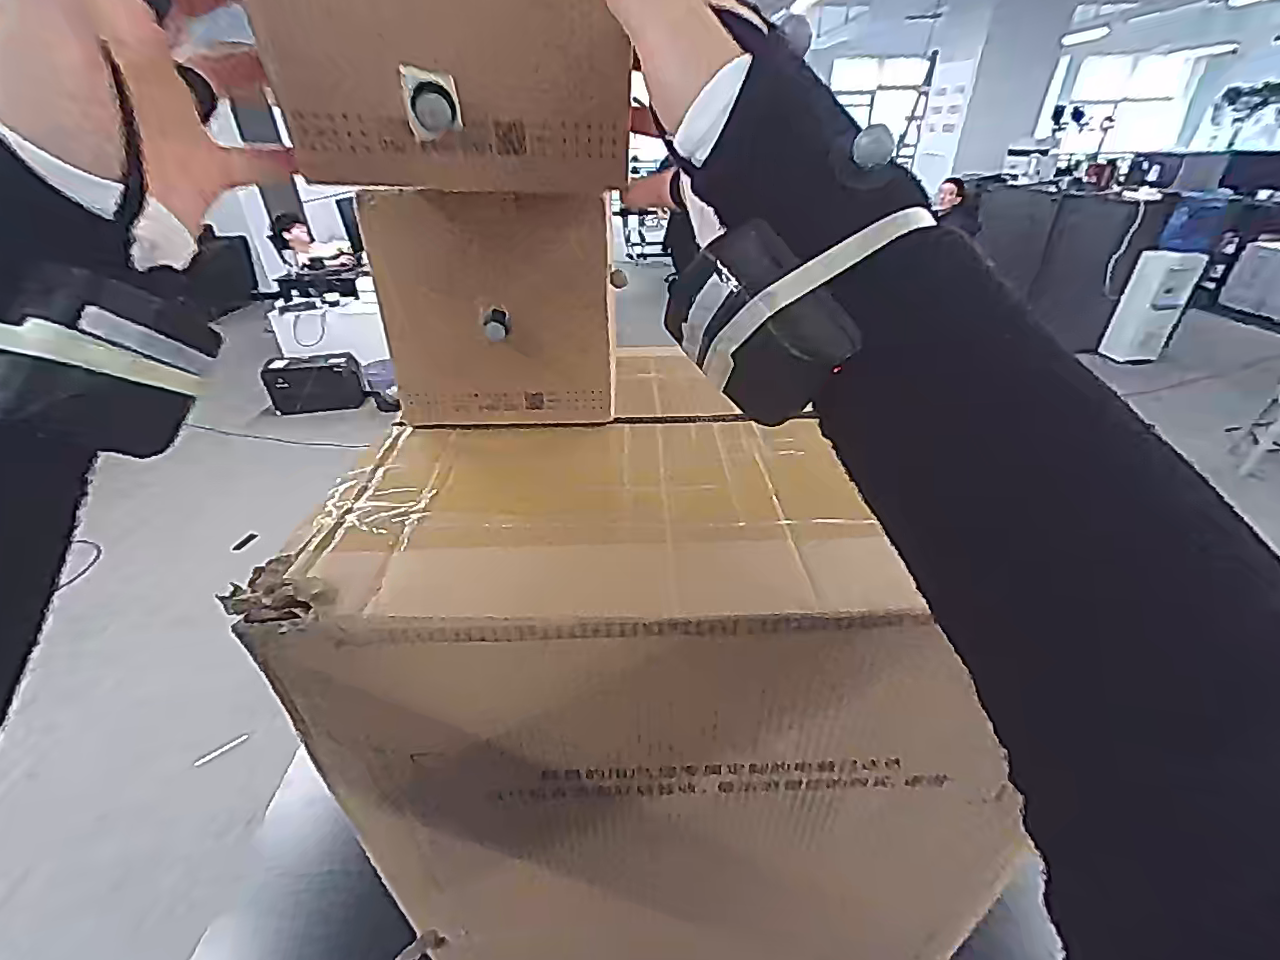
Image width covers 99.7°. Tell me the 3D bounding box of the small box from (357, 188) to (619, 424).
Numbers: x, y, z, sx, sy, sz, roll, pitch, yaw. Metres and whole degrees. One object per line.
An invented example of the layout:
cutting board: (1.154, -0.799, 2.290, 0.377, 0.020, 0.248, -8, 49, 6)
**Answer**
small box: (-0.102, -0.154, 0.459, 0.168, 0.176, 0.179, -1, 31, -2)

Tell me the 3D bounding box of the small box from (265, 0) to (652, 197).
small box: (-0.088, -0.264, 0.276, 0.168, 0.176, 0.179, -5, 47, -9)
